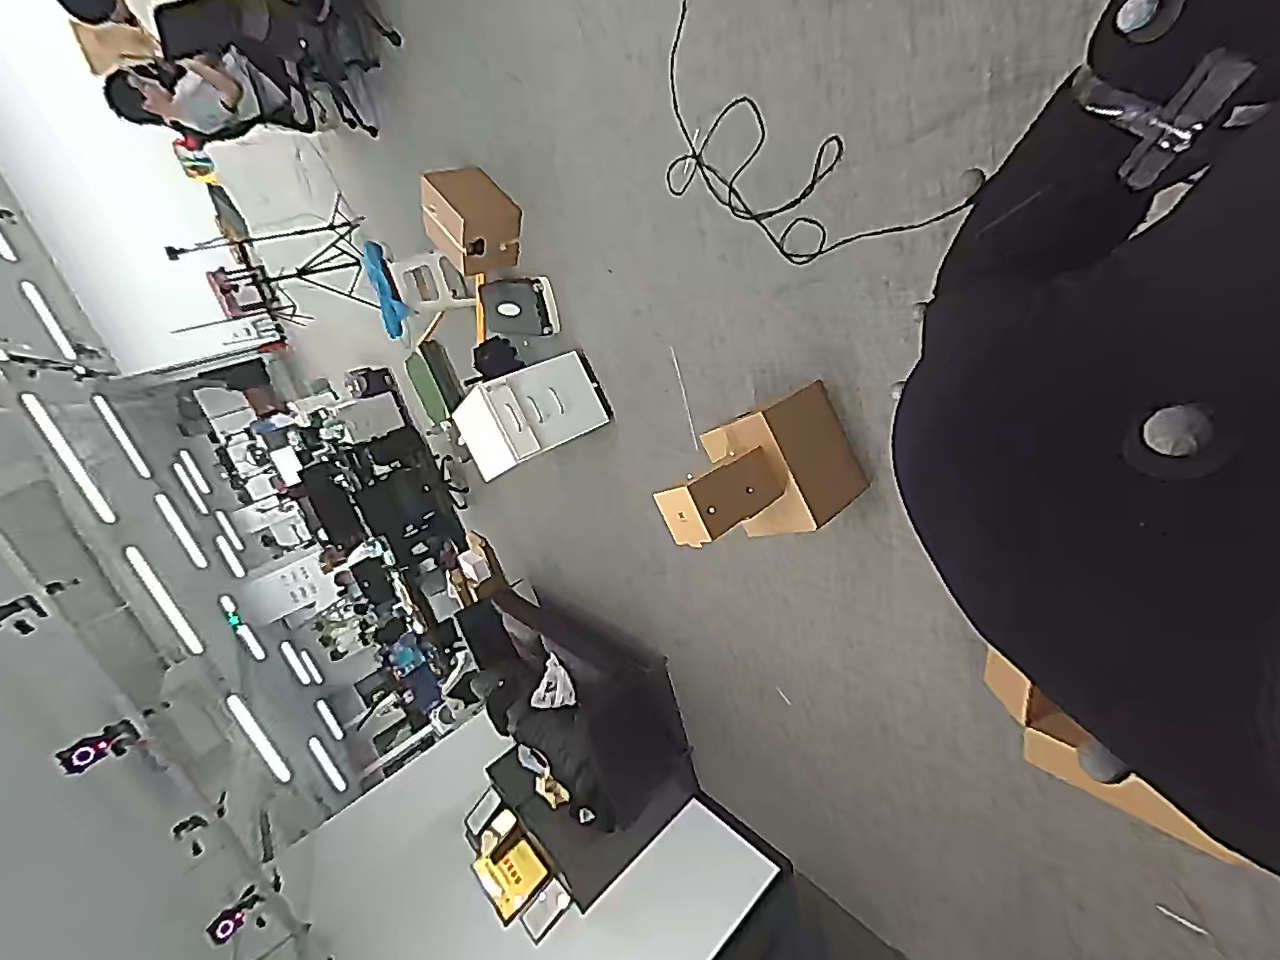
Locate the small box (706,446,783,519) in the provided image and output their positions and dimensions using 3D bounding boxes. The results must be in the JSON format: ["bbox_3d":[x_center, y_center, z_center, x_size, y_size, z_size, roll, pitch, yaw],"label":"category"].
[{"bbox_3d":[0.316,0.014,1.689,0.168,0.176,0.179,-18,99,57],"label":"small box"}]

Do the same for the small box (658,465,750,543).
[{"bbox_3d":[0.191,0.068,1.601,0.168,0.176,0.179,-17,101,56],"label":"small box"}]
